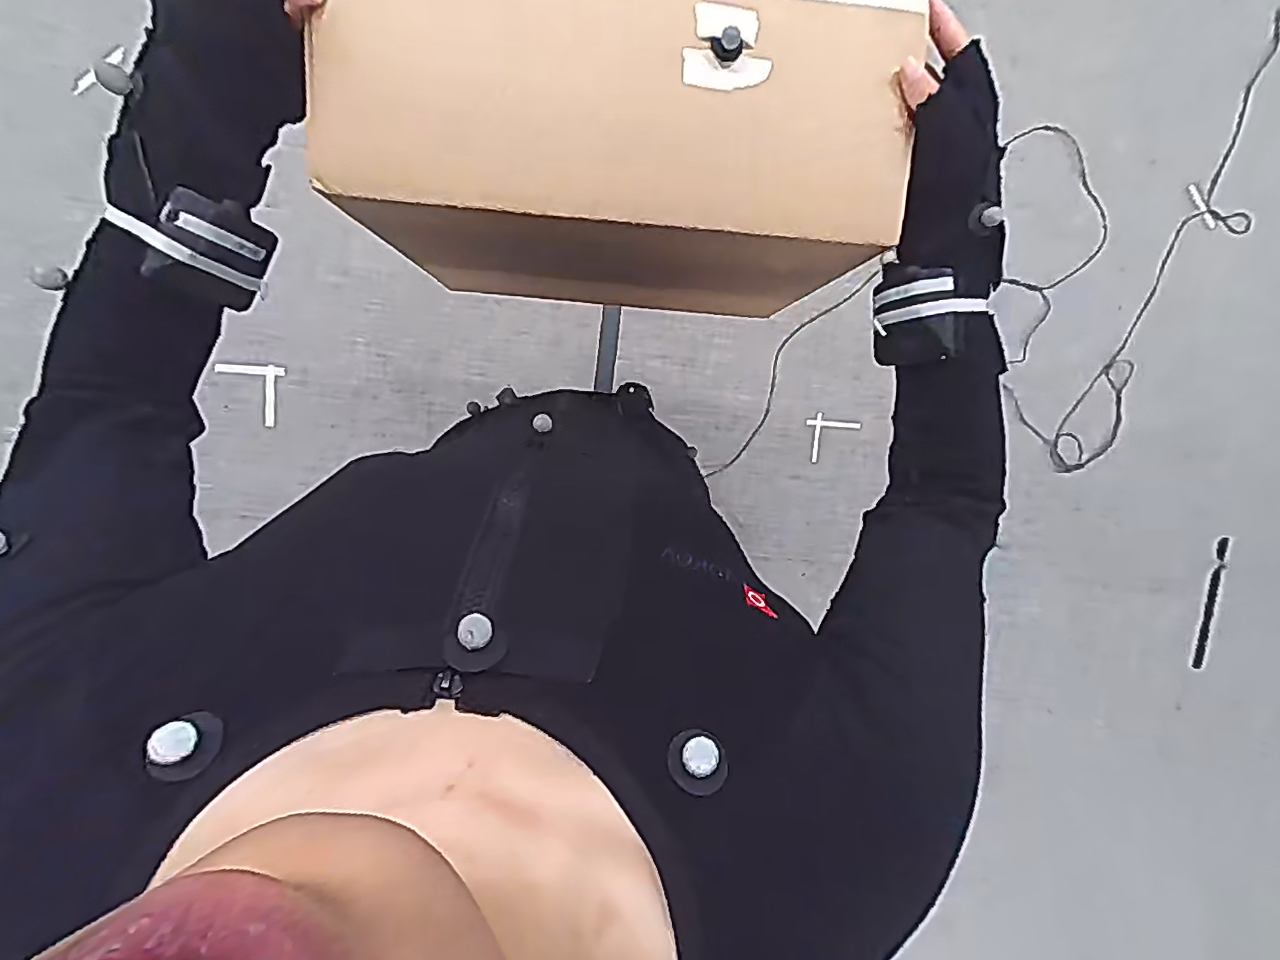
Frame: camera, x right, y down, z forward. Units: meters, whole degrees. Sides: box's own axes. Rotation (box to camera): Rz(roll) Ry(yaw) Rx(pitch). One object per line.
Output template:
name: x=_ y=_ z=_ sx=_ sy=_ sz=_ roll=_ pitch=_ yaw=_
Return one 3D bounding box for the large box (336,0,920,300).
large box: x=-0.012 y=-0.366 z=0.511 sx=0.408 sy=0.320 sz=0.320 roll=3 pitch=98 yaw=-4
